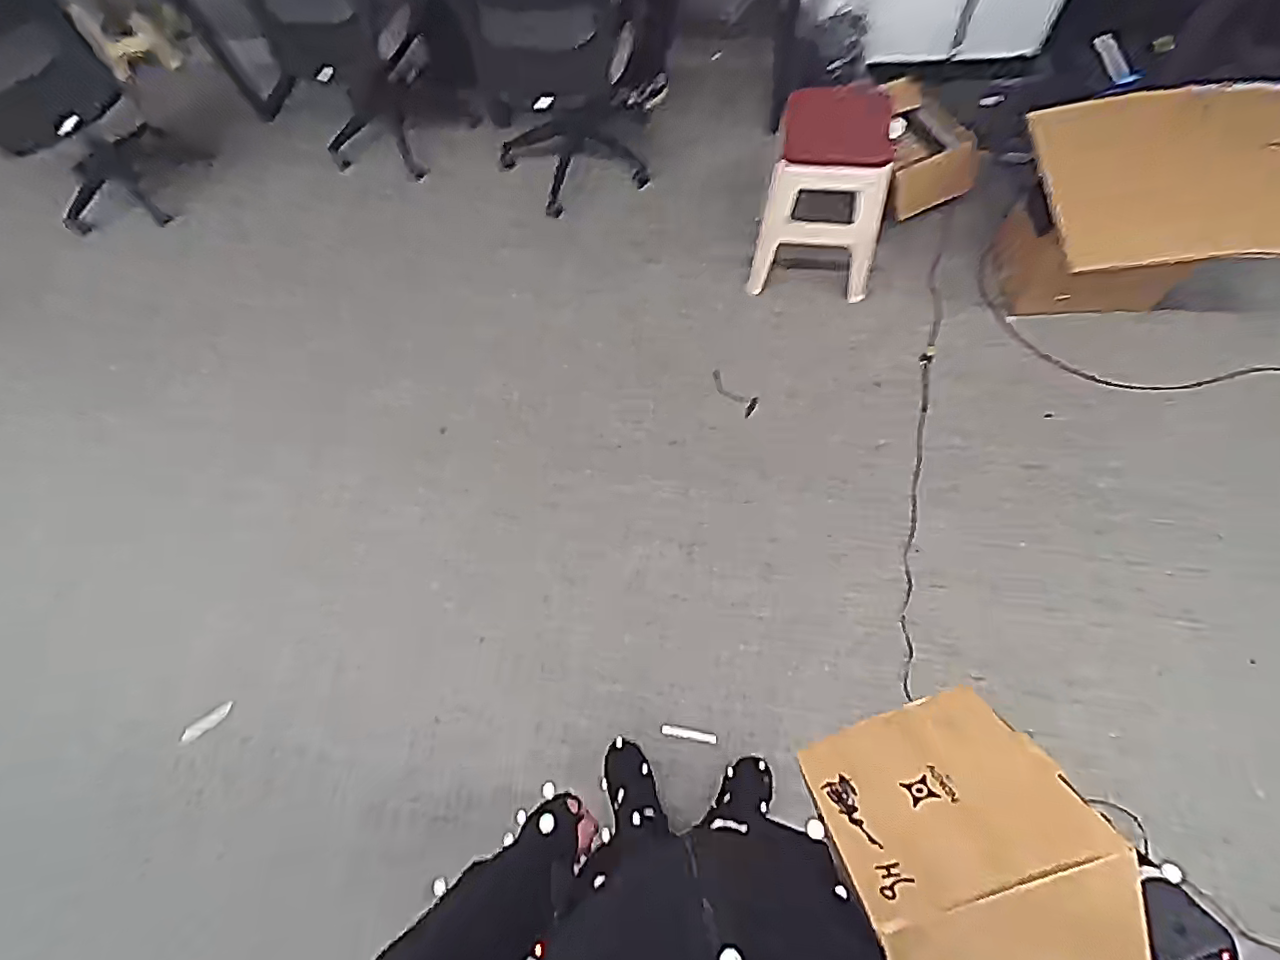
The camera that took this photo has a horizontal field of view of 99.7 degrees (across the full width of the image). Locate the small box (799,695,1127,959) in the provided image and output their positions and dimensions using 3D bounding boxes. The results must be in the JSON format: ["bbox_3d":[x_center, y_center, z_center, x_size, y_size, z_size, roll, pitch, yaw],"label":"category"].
[{"bbox_3d":[0.265,0.328,0.463,0.179,0.168,0.176,-21,105,1],"label":"small box"}]
